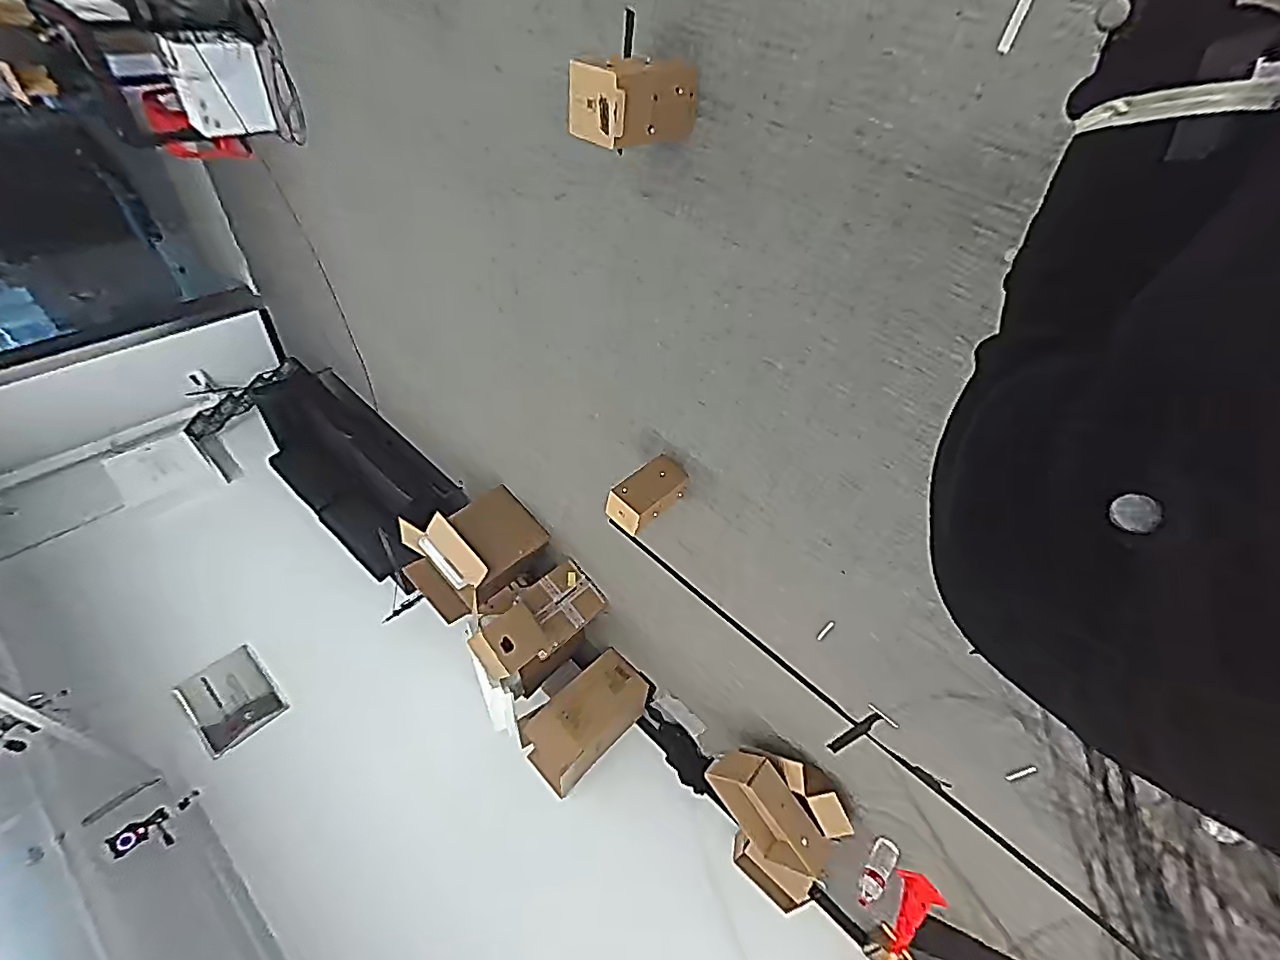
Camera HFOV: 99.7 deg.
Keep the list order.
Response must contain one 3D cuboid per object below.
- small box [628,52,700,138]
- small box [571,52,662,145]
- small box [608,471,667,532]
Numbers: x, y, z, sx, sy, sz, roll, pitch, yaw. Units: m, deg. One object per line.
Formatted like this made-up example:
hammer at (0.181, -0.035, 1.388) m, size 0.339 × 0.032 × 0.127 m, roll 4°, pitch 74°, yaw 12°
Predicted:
small box at (0.046, -1.088, 1.521) m, size 0.179 × 0.176 × 0.168 m, roll 36°, pitch 142°, yaw 26°
small box at (-0.063, -1.010, 1.425) m, size 0.179 × 0.176 × 0.168 m, roll 36°, pitch 142°, yaw 25°
small box at (-0.011, 0.085, 2.329) m, size 0.179 × 0.176 × 0.168 m, roll 40°, pitch 144°, yaw 18°
